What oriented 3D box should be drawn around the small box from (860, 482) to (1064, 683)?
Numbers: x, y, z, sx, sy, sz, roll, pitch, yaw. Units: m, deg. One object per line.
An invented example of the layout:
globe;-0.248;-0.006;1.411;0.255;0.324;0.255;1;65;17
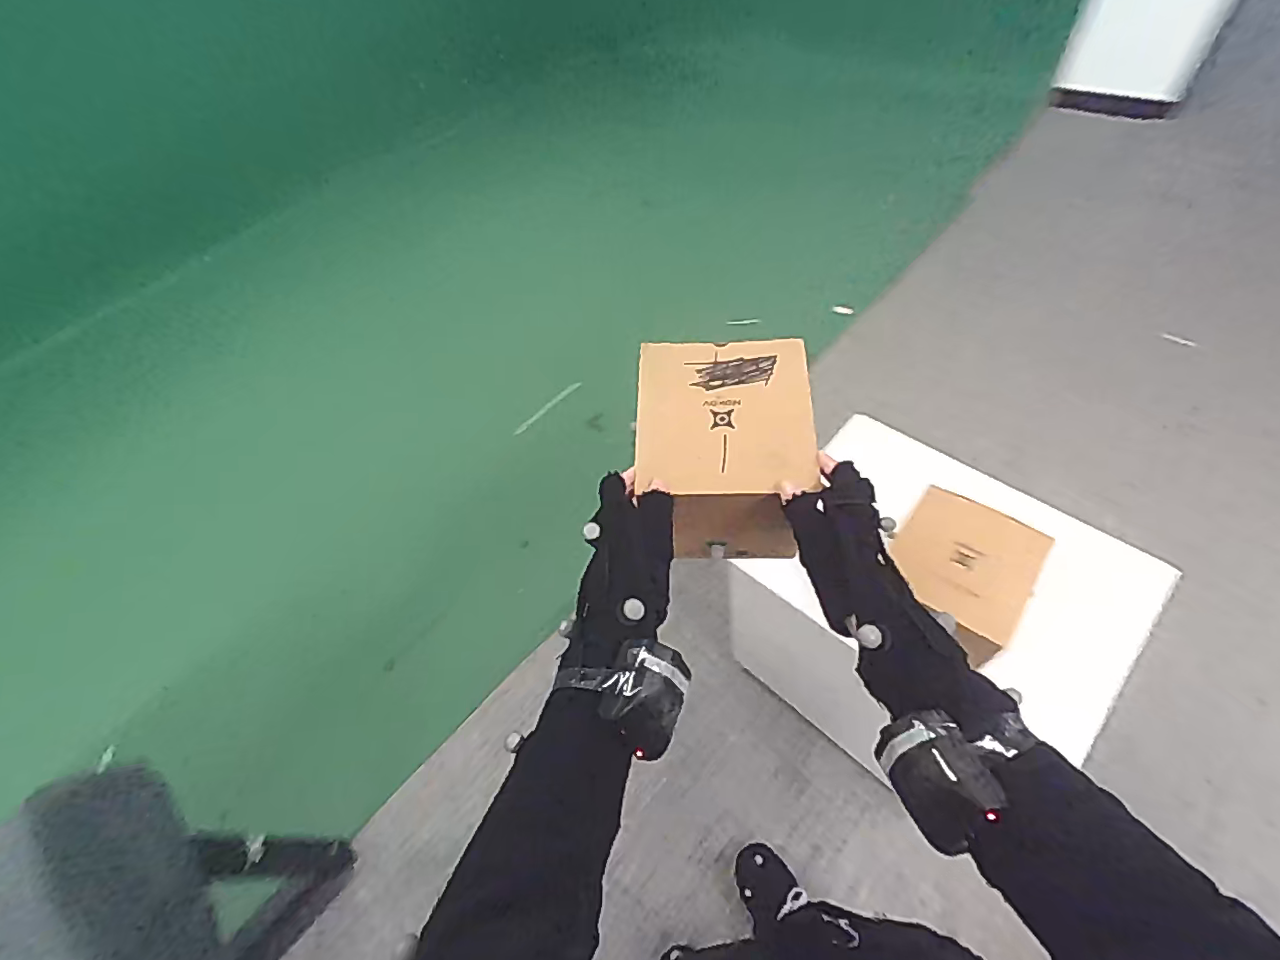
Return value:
small box;0.420;0.141;0.734;0.168;0.176;0.179;30;67;29
